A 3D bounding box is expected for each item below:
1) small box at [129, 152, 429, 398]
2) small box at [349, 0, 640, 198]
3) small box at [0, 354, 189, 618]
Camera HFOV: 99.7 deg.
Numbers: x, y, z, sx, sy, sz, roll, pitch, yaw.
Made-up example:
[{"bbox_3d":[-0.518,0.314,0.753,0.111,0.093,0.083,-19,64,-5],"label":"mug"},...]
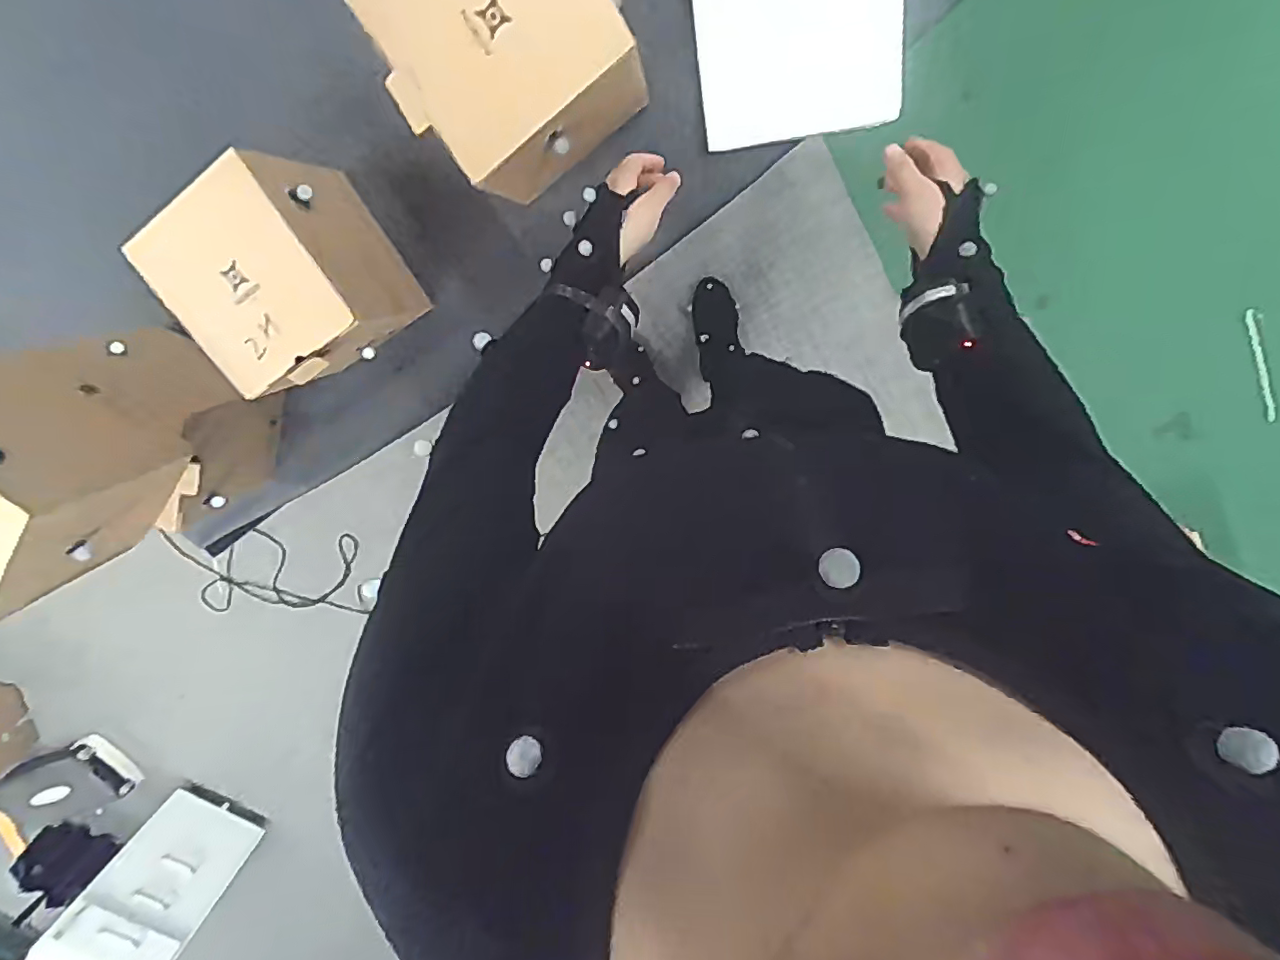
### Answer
[{"bbox_3d":[-0.377,-0.220,0.600,0.168,0.176,0.179,-27,108,17],"label":"small box"},{"bbox_3d":[-0.112,-0.391,0.500,0.179,0.176,0.168,-31,107,18],"label":"small box"},{"bbox_3d":[-0.612,0.002,0.540,0.168,0.176,0.179,41,112,-12],"label":"small box"}]
